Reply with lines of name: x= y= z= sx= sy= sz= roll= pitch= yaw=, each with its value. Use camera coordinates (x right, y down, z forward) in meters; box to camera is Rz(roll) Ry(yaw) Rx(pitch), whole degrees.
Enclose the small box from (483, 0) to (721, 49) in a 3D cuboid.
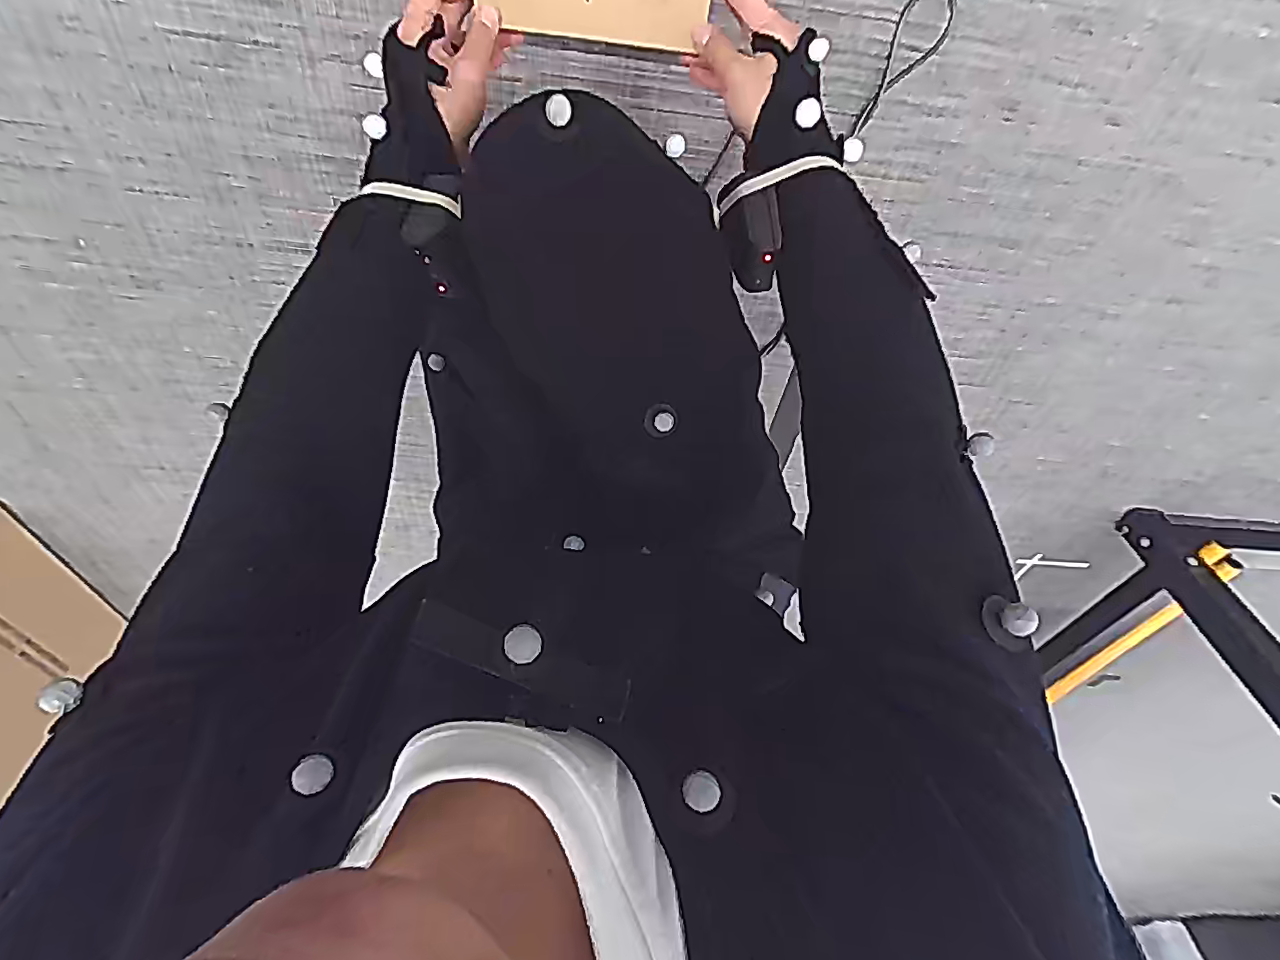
small box: x=-0.016 y=-0.433 z=0.379 sx=0.168 sy=0.176 sz=0.179 roll=6 pitch=135 yaw=-3
